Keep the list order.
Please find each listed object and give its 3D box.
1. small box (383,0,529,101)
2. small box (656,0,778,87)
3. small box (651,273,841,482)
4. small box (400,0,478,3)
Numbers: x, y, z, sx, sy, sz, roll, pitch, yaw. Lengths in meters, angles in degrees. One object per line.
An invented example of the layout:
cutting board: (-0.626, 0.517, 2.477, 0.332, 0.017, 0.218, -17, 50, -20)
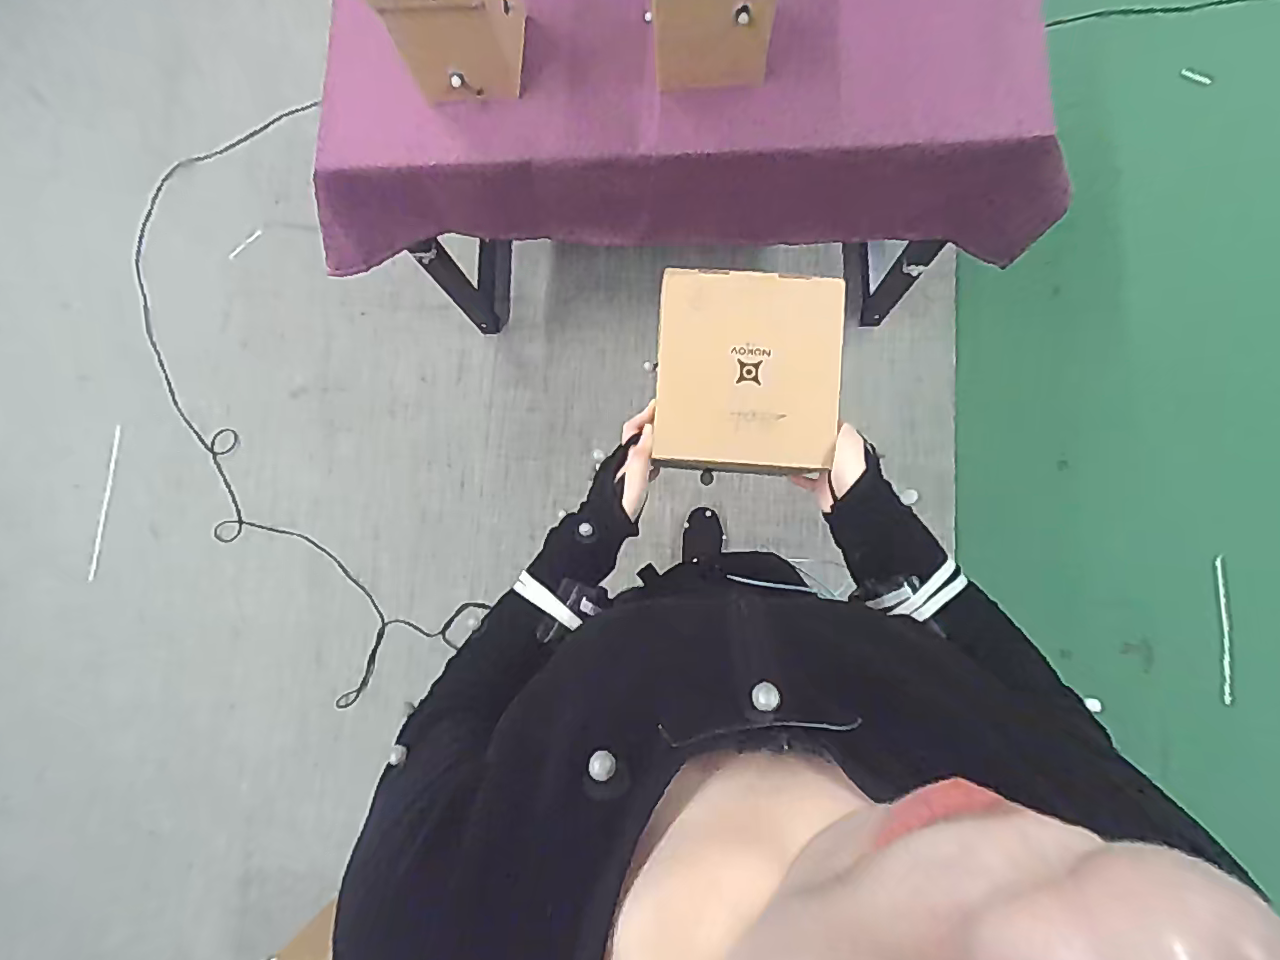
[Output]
small box: (-0.283, -0.757, 0.870, 0.168, 0.176, 0.179, 2, 82, 5)
small box: (0.115, -0.751, 0.837, 0.179, 0.176, 0.168, 0, 81, 5)
small box: (0.100, -0.096, 0.577, 0.168, 0.176, 0.179, 5, 87, 2)
small box: (-0.300, -0.774, 0.708, 0.168, 0.176, 0.179, 2, 82, 4)
